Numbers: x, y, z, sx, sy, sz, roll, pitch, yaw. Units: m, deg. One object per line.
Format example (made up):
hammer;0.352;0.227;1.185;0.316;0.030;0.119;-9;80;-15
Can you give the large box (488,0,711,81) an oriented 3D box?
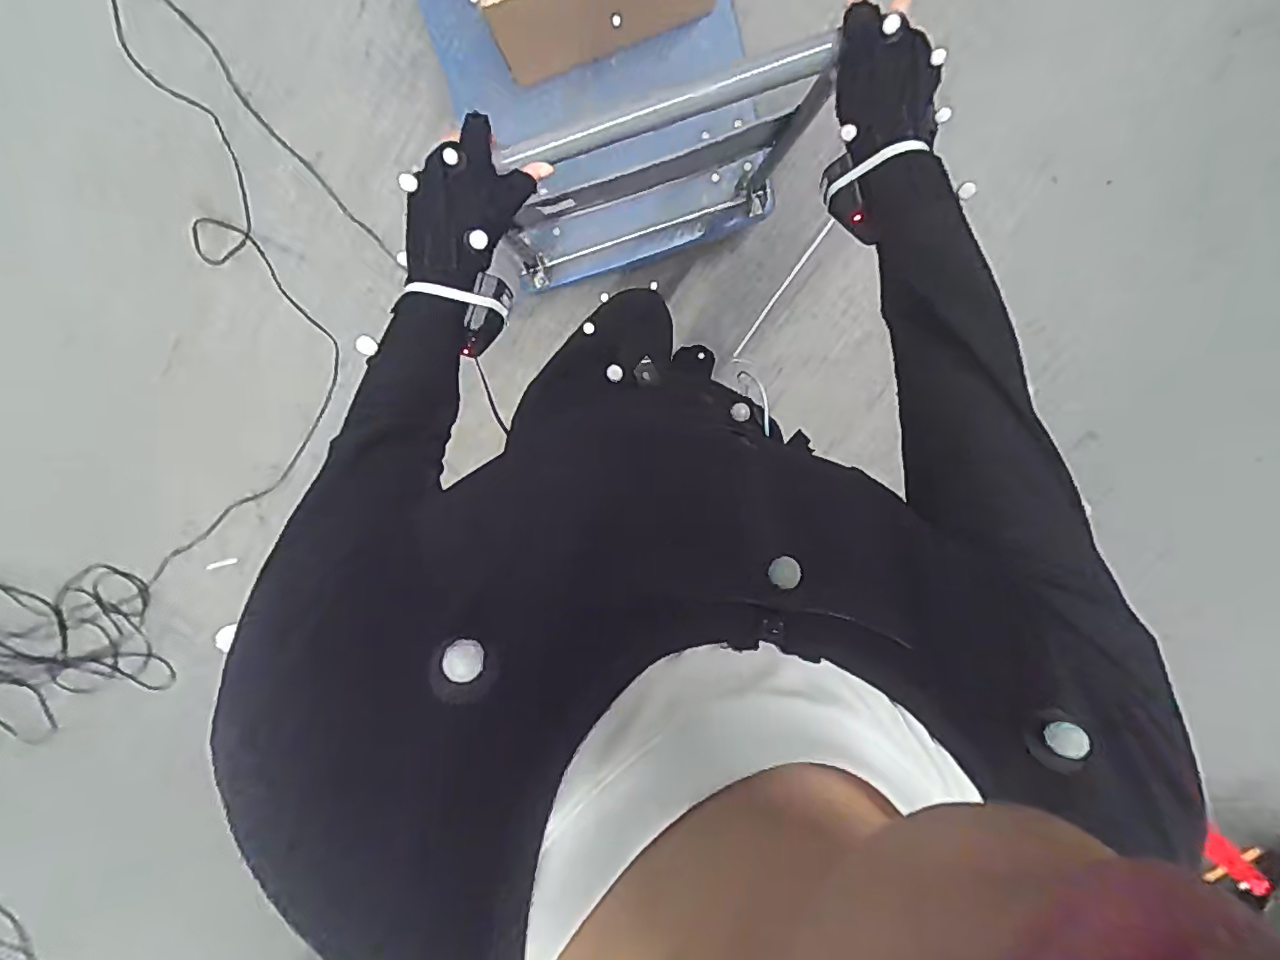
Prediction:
large box;-0.087;-0.942;0.873;0.408;0.320;0.320;-19;106;5
